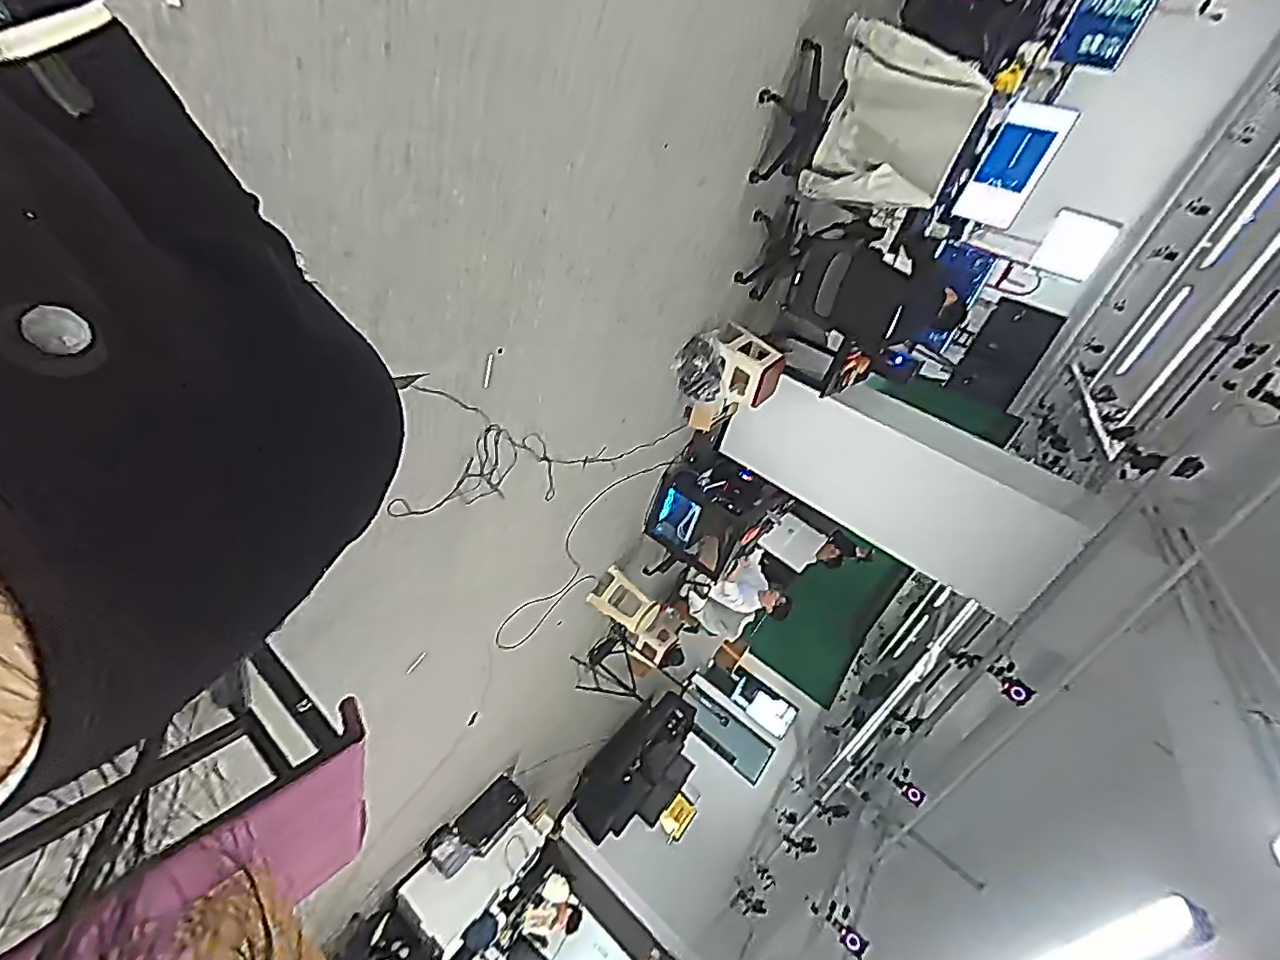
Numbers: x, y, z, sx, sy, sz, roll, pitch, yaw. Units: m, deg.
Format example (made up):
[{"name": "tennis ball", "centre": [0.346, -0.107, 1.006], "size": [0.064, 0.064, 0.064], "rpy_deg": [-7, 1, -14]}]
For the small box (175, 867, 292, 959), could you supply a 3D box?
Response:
[{"name": "small box", "centre": [-0.927, 1.044, 1.239], "size": [0.168, 0.176, 0.179], "rpy_deg": [-23, 140, -52]}]

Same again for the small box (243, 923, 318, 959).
[{"name": "small box", "centre": [-0.800, 1.127, 1.175], "size": [0.168, 0.176, 0.179], "rpy_deg": [-23, 140, -53]}]
